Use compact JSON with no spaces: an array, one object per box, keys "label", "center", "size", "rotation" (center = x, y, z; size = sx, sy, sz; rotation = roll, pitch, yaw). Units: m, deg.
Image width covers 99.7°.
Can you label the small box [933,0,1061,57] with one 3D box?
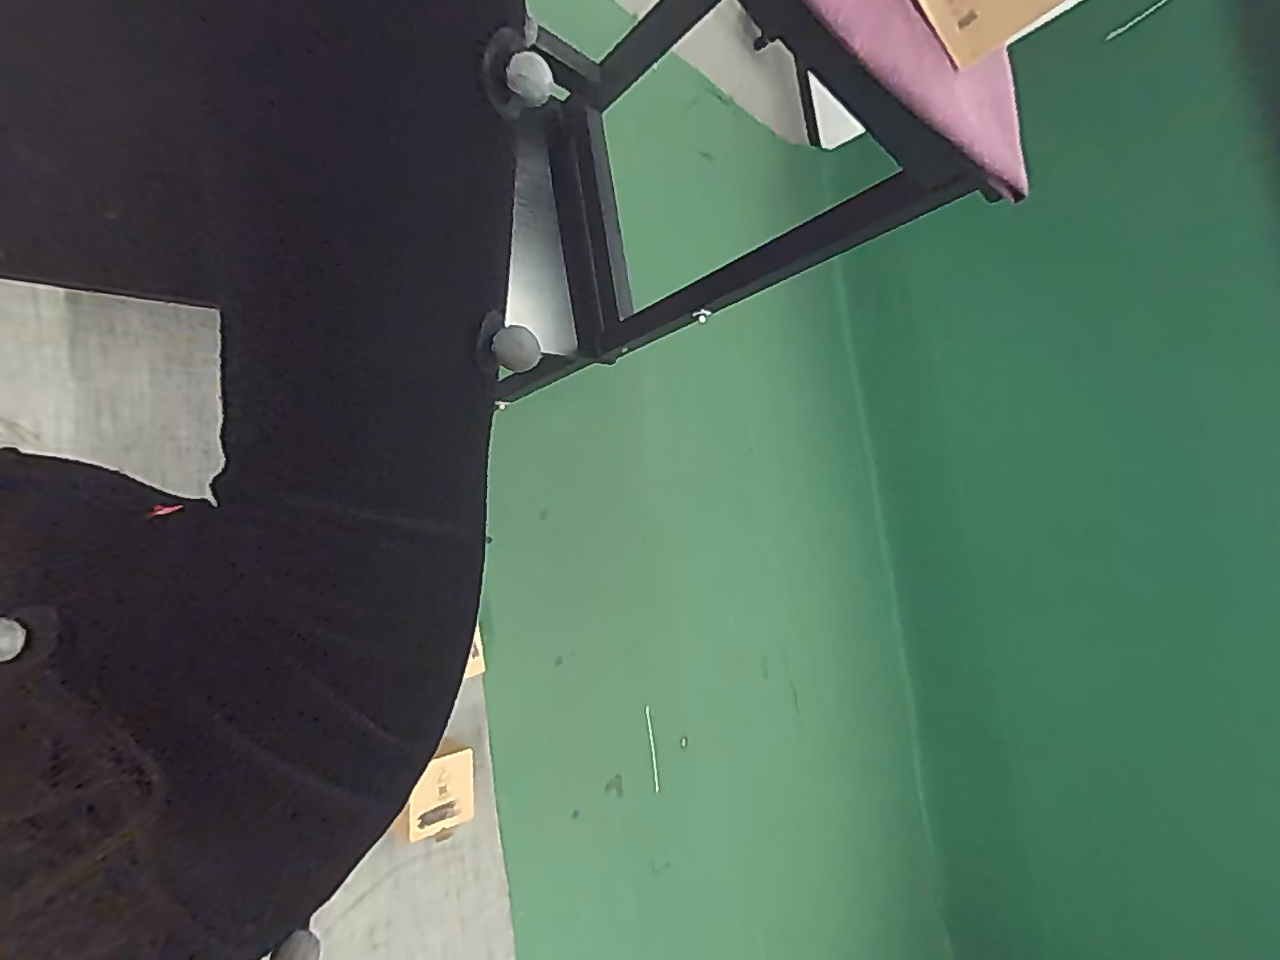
[{"label":"small box","center":[0.319,-0.522,0.447],"size":[0.168,0.176,0.179],"rotation":[0,80,-44]}]
